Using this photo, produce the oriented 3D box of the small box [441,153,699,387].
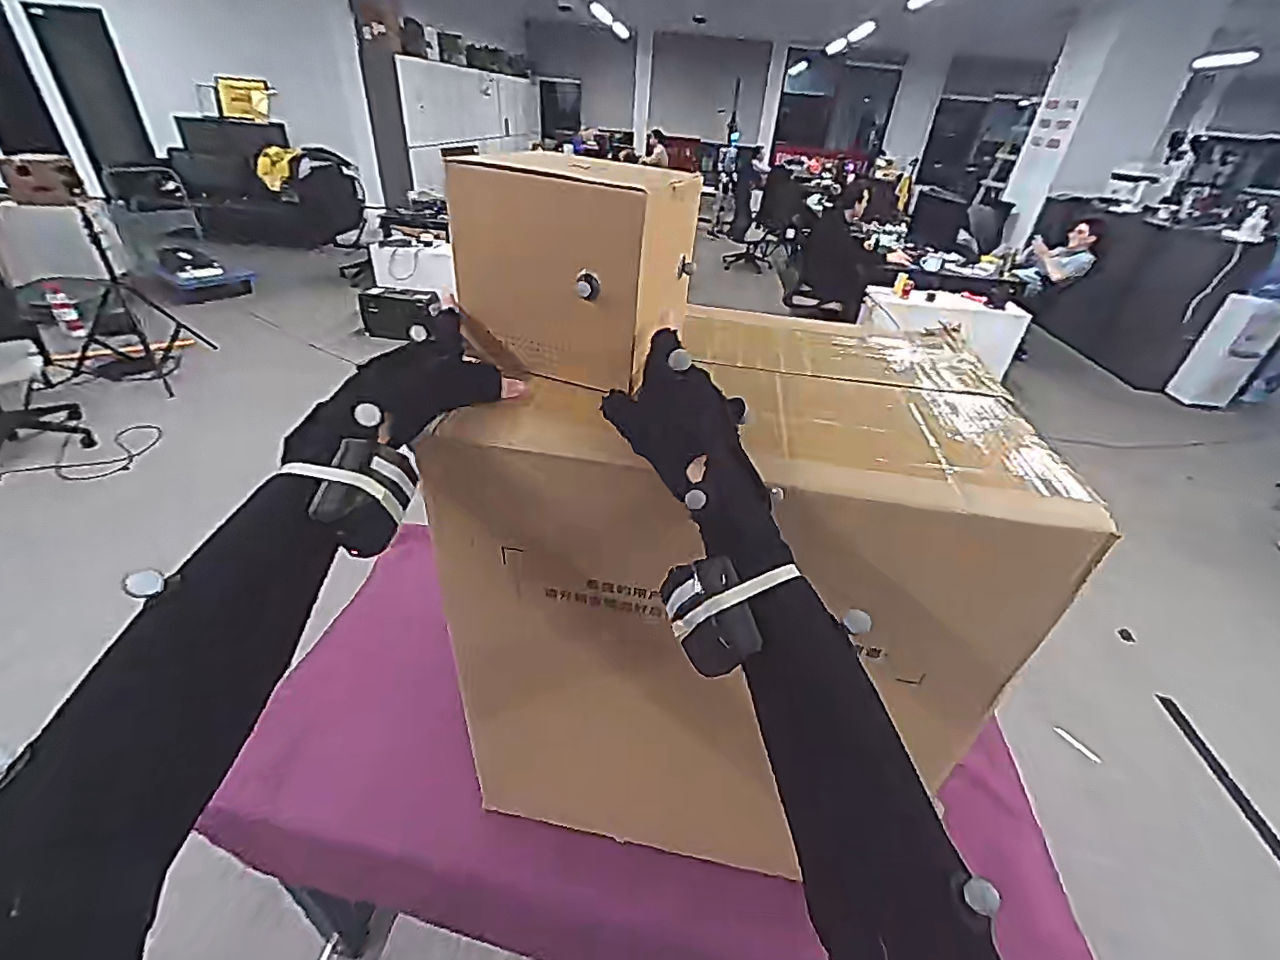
[{"bbox_3d":[-0.058,-0.203,0.515,0.179,0.176,0.168,15,34,14],"label":"small box"}]
